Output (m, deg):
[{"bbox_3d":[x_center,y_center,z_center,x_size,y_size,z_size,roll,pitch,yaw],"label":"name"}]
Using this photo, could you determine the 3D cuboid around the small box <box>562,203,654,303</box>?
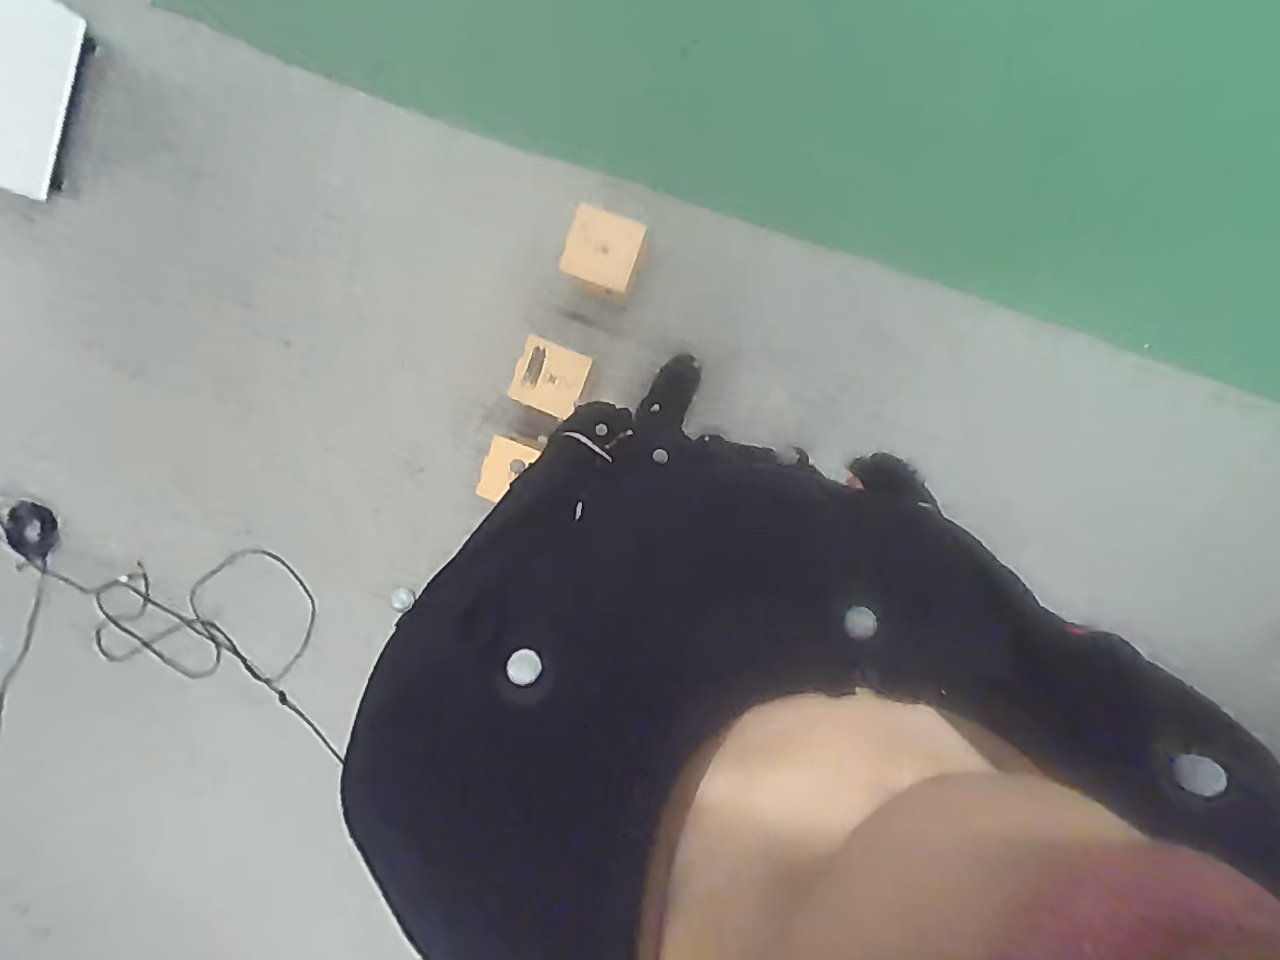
[{"bbox_3d":[-0.073,-0.559,1.359,0.179,0.176,0.168,21,97,4],"label":"small box"}]

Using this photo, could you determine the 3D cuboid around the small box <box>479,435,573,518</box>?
[{"bbox_3d":[-0.294,-0.017,1.434,0.179,0.176,0.168,20,98,4],"label":"small box"}]
